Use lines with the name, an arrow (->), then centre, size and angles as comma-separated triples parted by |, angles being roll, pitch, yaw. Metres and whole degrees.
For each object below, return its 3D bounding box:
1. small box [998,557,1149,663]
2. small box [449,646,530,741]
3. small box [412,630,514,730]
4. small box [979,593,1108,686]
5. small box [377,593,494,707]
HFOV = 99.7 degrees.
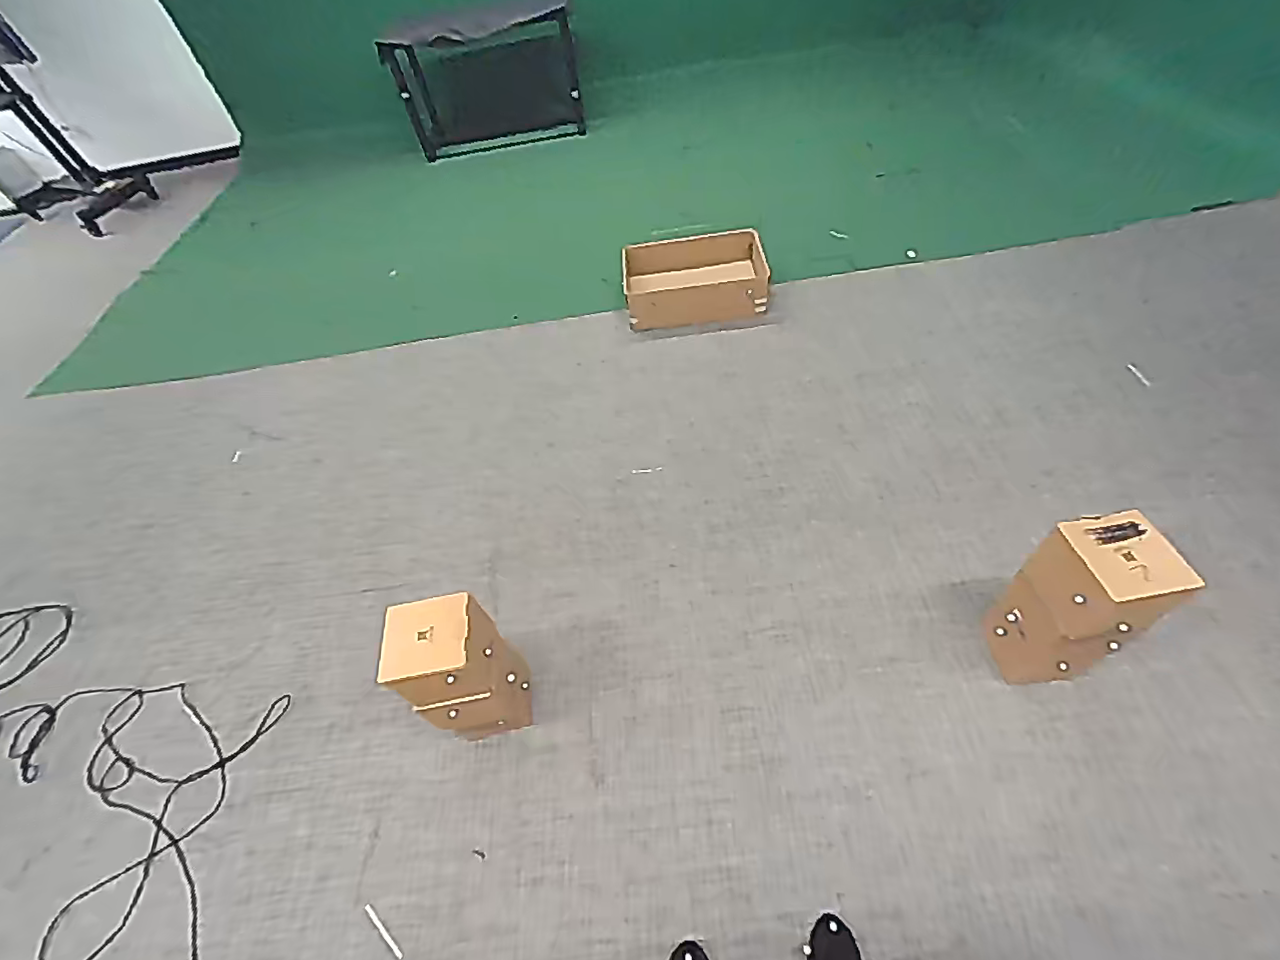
small box -> 0.945, 0.292, 1.200 | 0.179, 0.176, 0.168 | -8, 50, 4
small box -> -0.393, 0.562, 1.415 | 0.179, 0.176, 0.168 | -15, 50, -2
small box -> -0.409, 0.474, 1.277 | 0.179, 0.176, 0.168 | -11, 51, 0
small box -> 0.976, 0.387, 1.329 | 0.168, 0.176, 0.179 | -8, 50, 4
small box -> -0.426, 0.368, 1.154 | 0.179, 0.176, 0.168 | -12, 51, -1
